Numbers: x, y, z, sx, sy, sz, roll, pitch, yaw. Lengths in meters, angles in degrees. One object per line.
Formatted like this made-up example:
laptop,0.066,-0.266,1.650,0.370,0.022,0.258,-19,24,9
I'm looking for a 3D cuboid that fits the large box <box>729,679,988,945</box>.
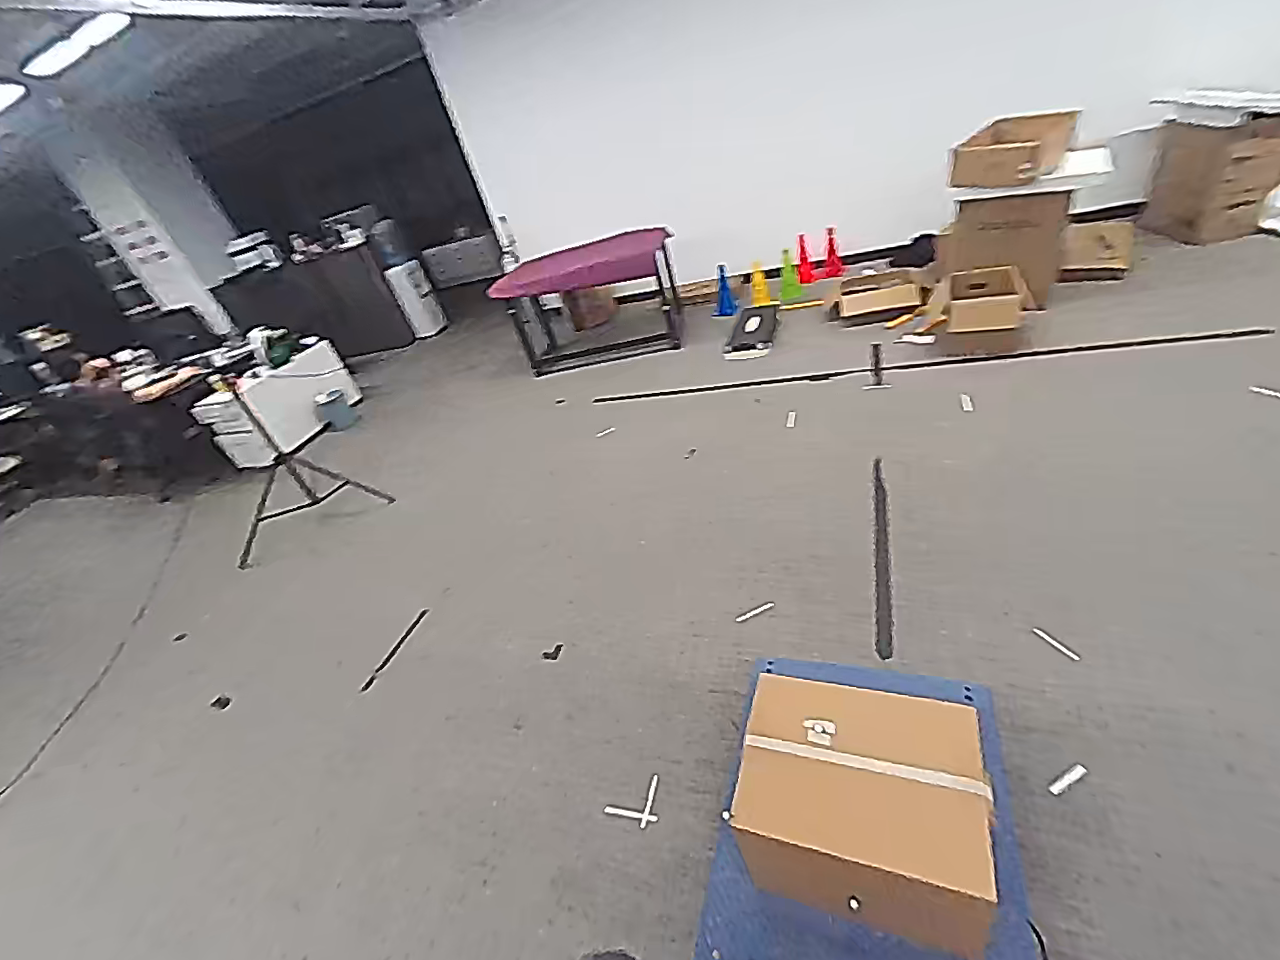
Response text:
large box,0.430,0.639,1.078,0.408,0.320,0.320,-2,36,25
